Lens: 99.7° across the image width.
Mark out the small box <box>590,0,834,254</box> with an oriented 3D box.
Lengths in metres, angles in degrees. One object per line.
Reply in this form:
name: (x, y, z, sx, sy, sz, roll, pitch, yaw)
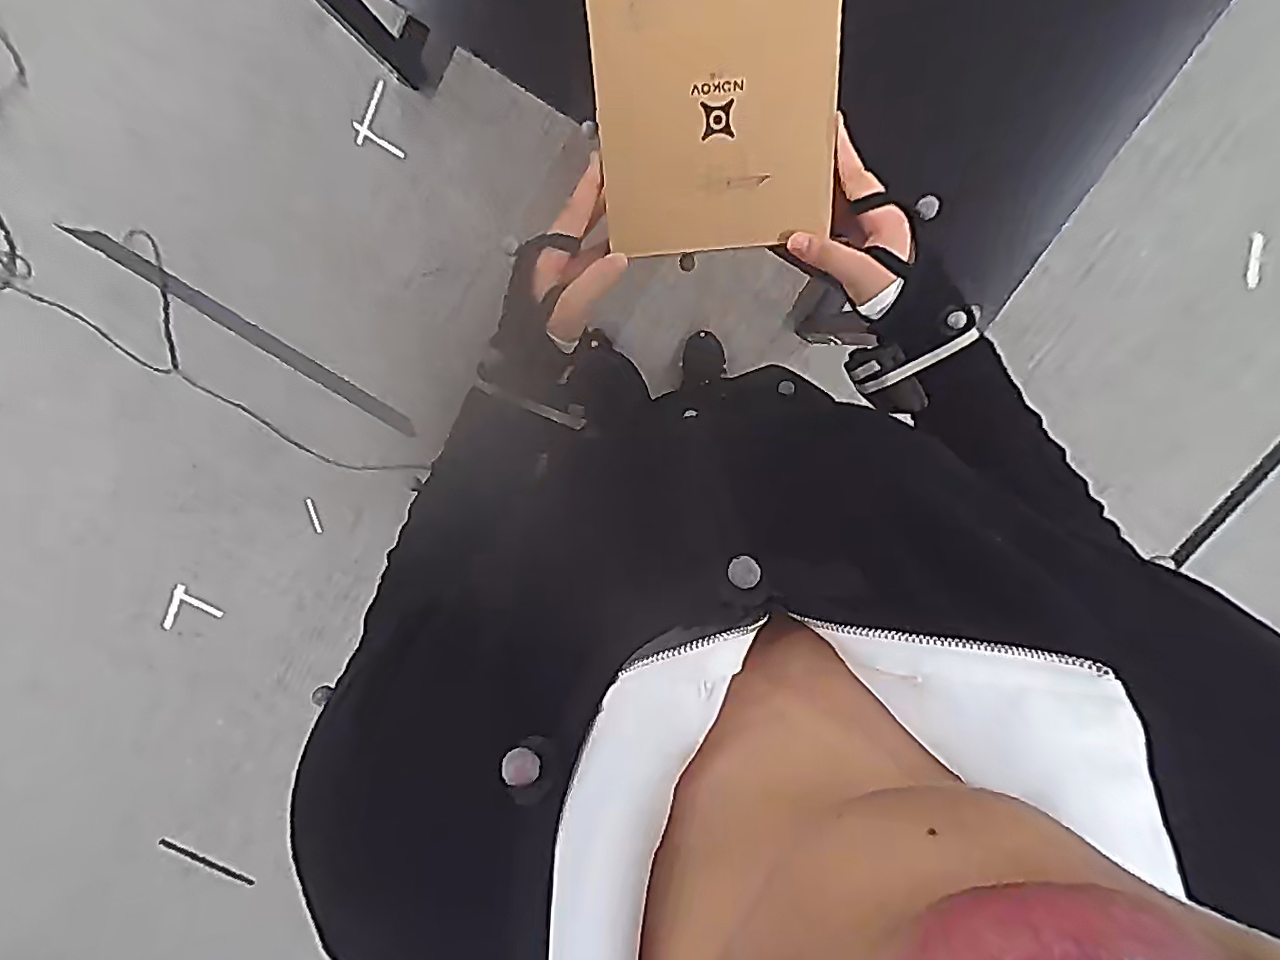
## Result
small box: (0.048, -0.290, 0.454, 0.168, 0.176, 0.179, -5, 113, 0)
